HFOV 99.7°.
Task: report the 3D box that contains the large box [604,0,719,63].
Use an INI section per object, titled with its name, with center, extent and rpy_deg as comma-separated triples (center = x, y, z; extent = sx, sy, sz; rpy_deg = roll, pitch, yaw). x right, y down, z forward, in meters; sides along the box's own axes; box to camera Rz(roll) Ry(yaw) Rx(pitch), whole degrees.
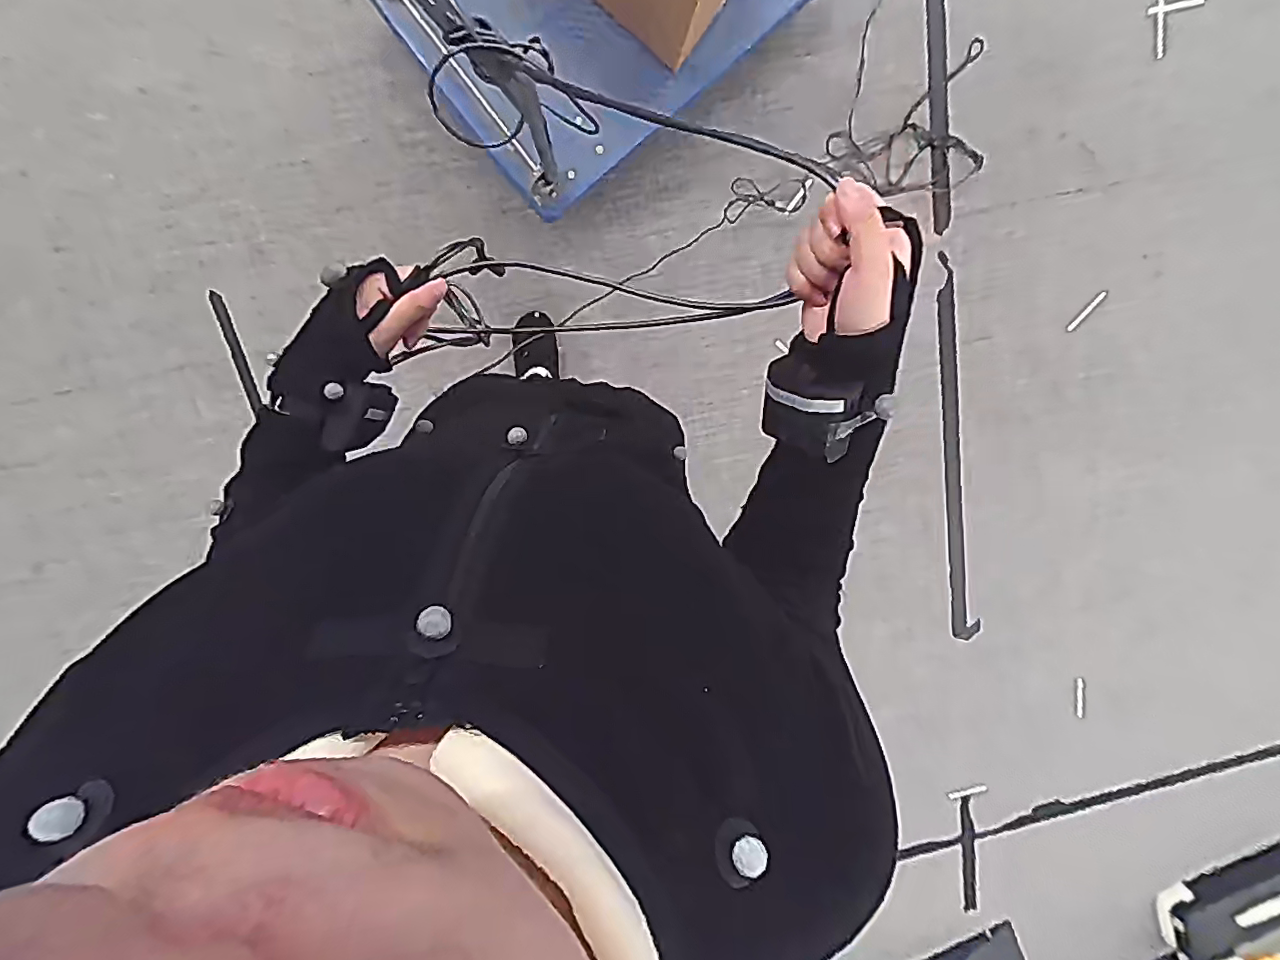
[large box]
center = 0.020, -1.054, 0.918
extent = 0.408, 0.320, 0.320
rpy_deg = 35, 99, -13
